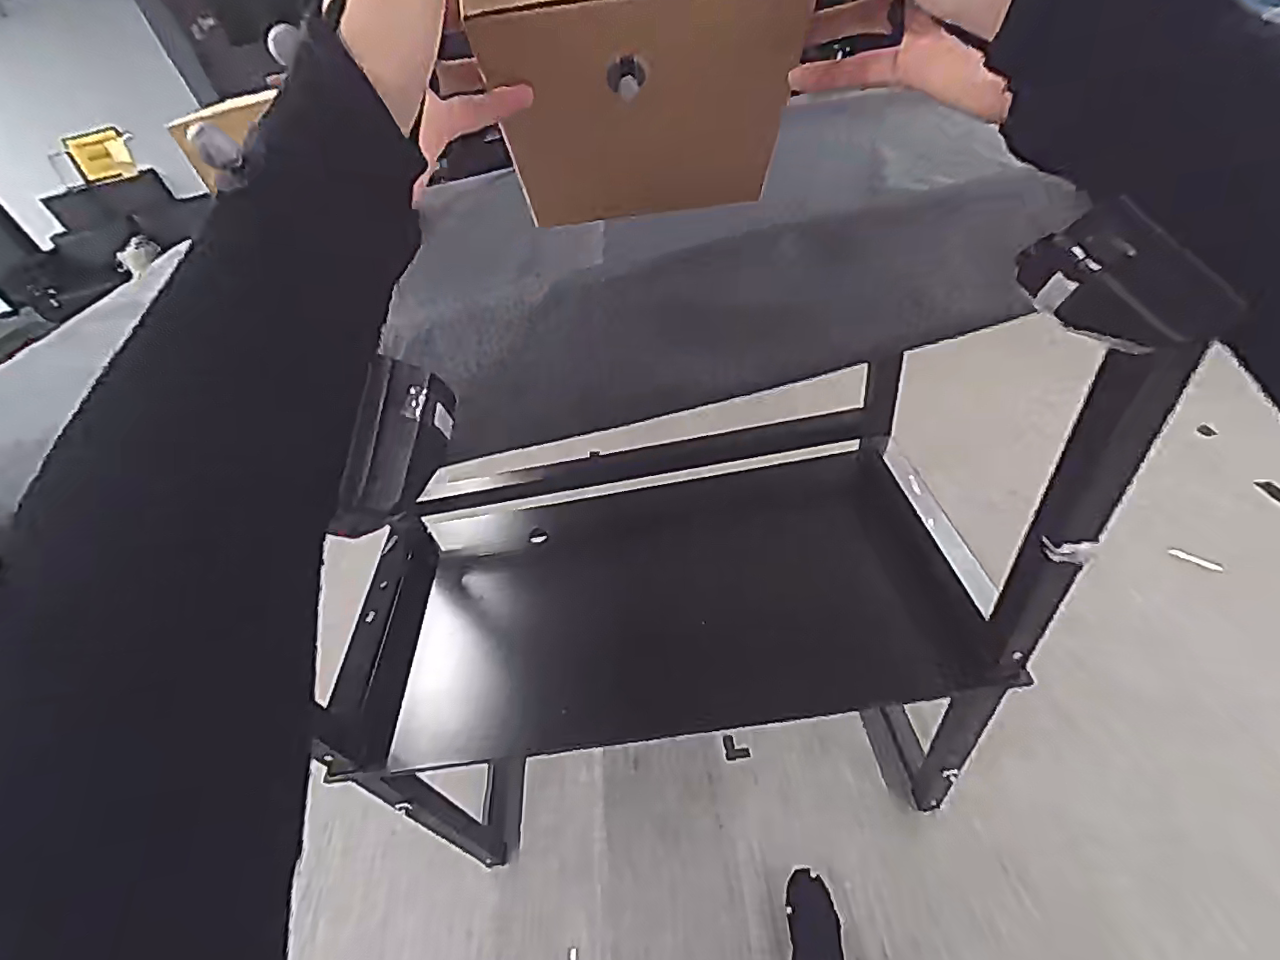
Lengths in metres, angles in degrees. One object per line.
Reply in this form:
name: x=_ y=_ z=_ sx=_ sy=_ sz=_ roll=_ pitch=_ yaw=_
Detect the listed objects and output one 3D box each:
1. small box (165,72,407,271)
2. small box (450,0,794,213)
small box: x=-0.418 y=-0.387 z=0.680 sx=0.168 sy=0.176 sz=0.179 roll=-15 pitch=42 yaw=1
small box: x=-0.008 y=-0.296 z=0.343 sx=0.179 sy=0.176 sz=0.168 roll=-7 pitch=81 yaw=1
